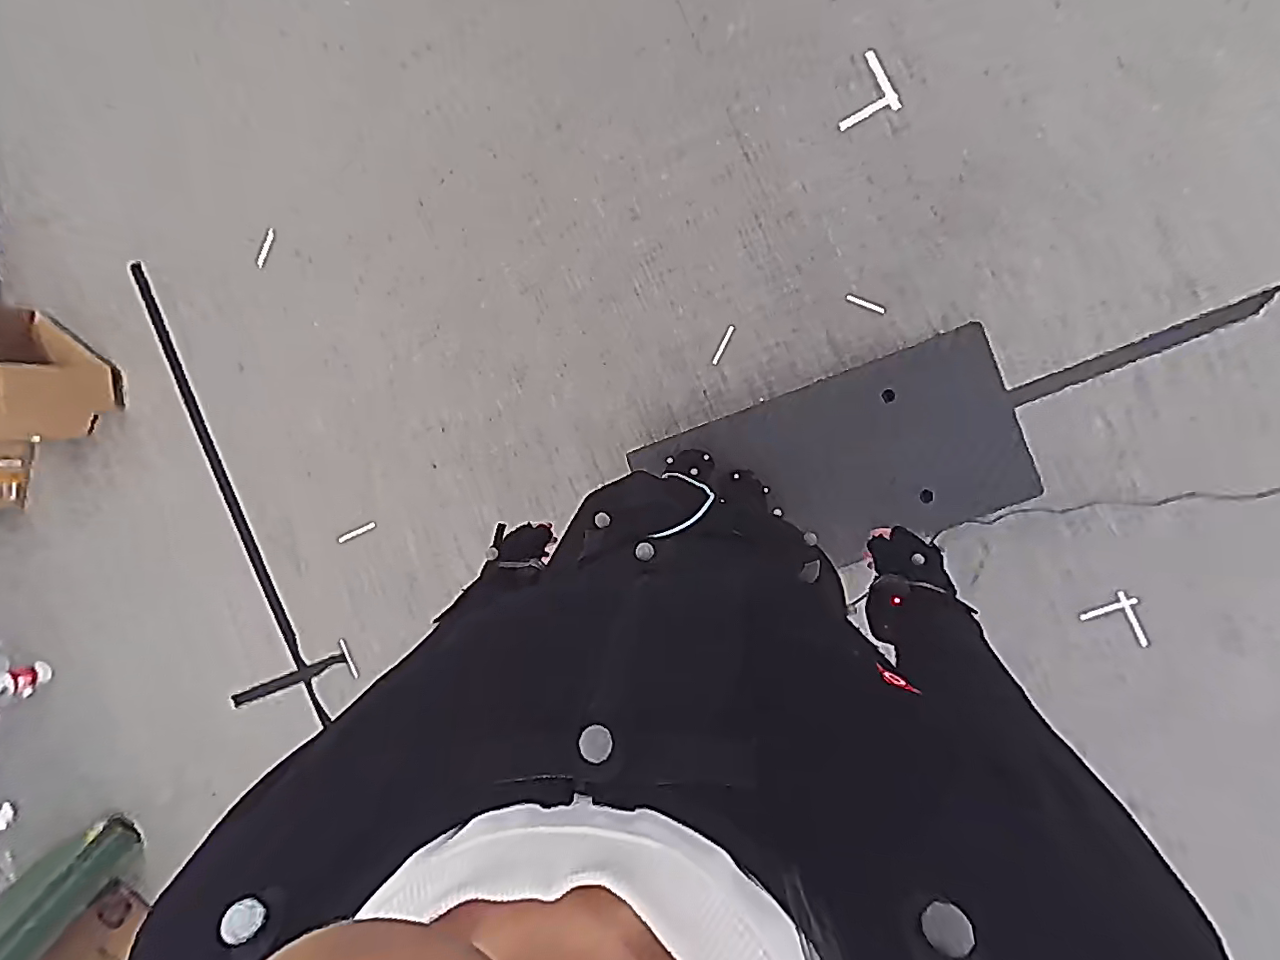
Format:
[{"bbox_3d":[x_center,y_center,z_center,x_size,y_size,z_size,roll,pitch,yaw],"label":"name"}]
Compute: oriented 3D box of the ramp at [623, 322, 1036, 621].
[{"bbox_3d":[0.500,-0.025,1.443,0.991,0.206,0.509,-23,88,11],"label":"ramp"}]
